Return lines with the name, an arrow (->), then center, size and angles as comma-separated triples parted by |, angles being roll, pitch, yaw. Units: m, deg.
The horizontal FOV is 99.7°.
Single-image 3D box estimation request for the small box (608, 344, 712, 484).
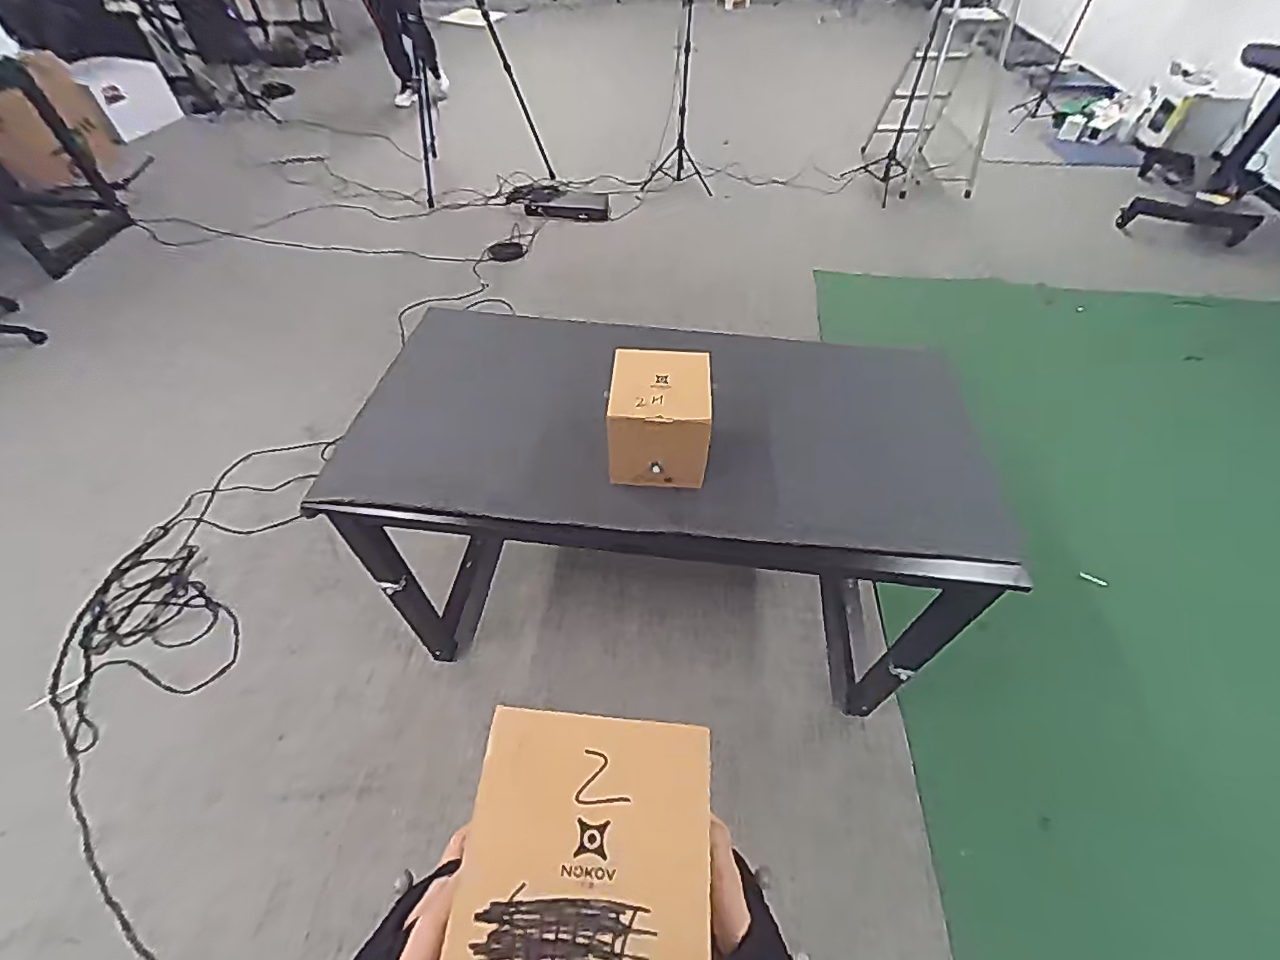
small box -> 0.033, -0.115, 0.949 | 0.168, 0.176, 0.179 | 3, 50, 1
